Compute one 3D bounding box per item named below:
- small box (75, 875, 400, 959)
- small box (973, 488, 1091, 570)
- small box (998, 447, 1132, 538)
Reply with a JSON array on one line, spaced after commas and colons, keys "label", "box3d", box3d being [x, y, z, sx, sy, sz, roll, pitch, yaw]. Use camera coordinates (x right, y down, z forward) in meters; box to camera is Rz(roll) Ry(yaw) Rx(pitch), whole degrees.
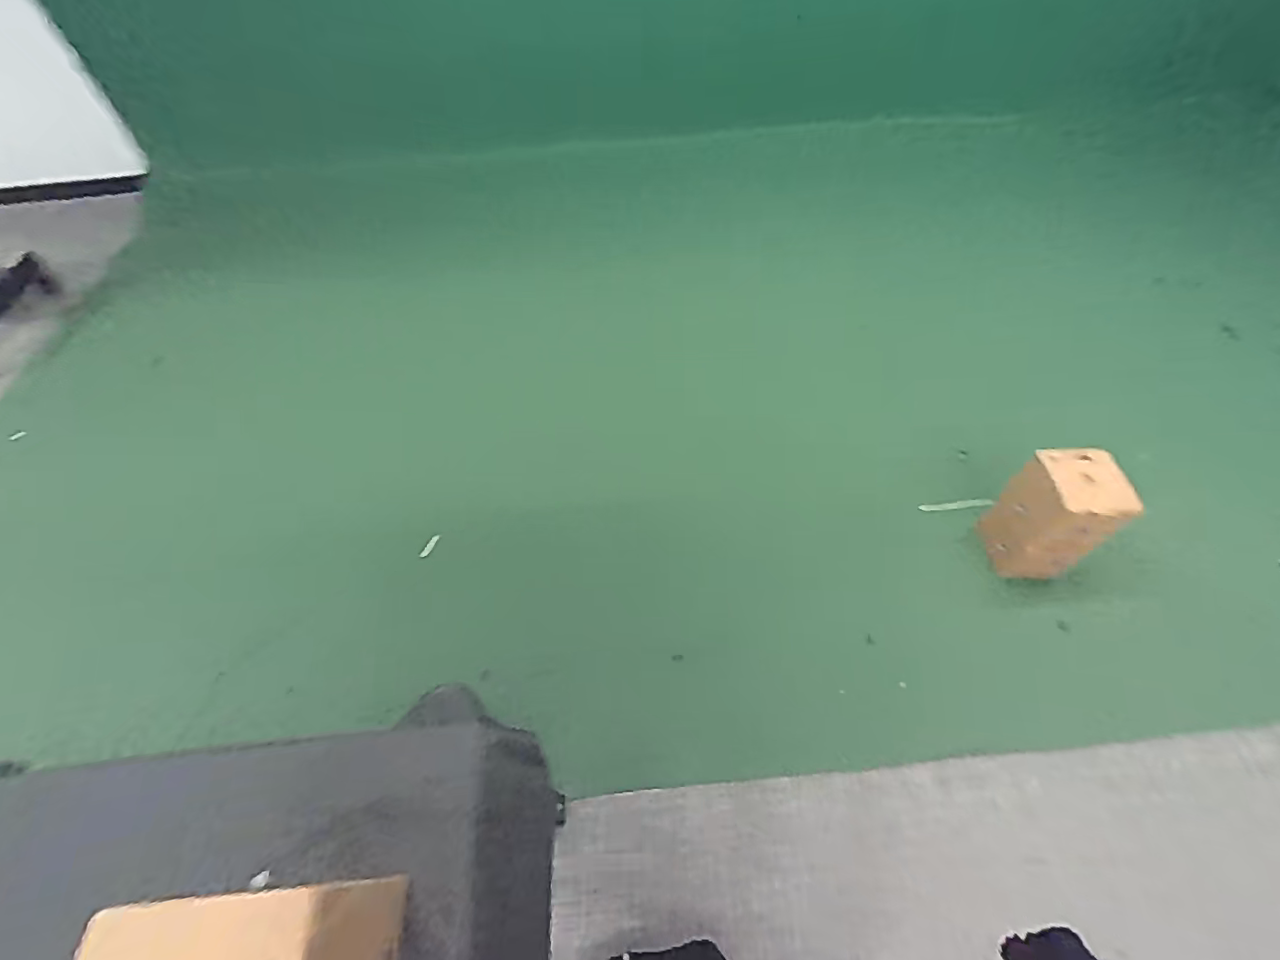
[{"label": "small box", "box3d": [-0.319, 0.430, 0.435, 0.179, 0.176, 0.168, -6, 56, 0]}, {"label": "small box", "box3d": [1.034, 0.129, 1.445, 0.168, 0.176, 0.179, 1, 55, 0]}, {"label": "small box", "box3d": [1.033, 0.038, 1.332, 0.168, 0.176, 0.179, -1, 56, 1]}]
